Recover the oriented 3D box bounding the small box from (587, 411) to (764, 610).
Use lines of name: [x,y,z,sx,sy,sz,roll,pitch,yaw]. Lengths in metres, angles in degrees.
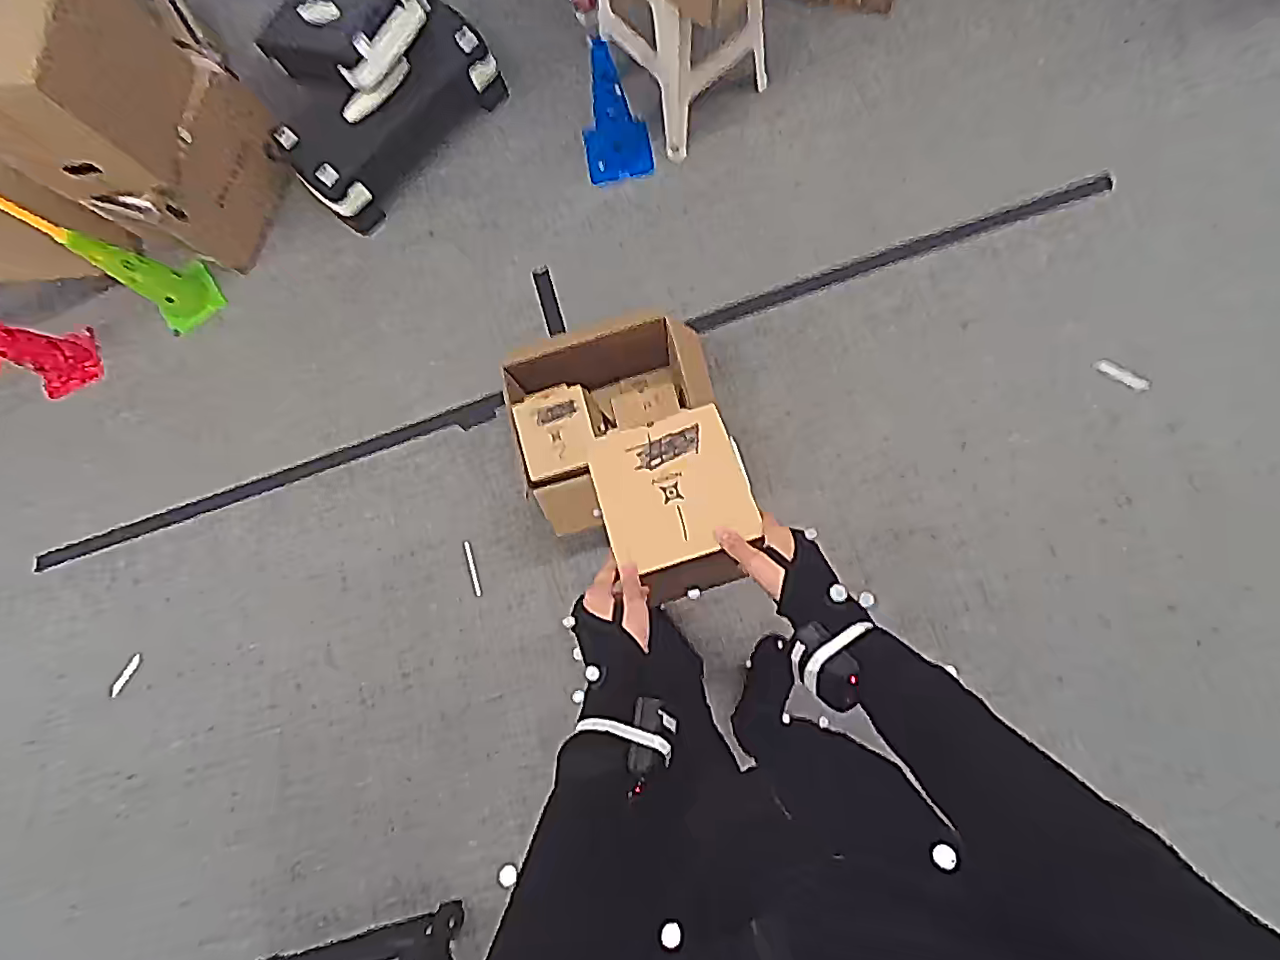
small box: [0.041,0.046,0.687,0.168,0.176,0.179,-17,64,-2]
